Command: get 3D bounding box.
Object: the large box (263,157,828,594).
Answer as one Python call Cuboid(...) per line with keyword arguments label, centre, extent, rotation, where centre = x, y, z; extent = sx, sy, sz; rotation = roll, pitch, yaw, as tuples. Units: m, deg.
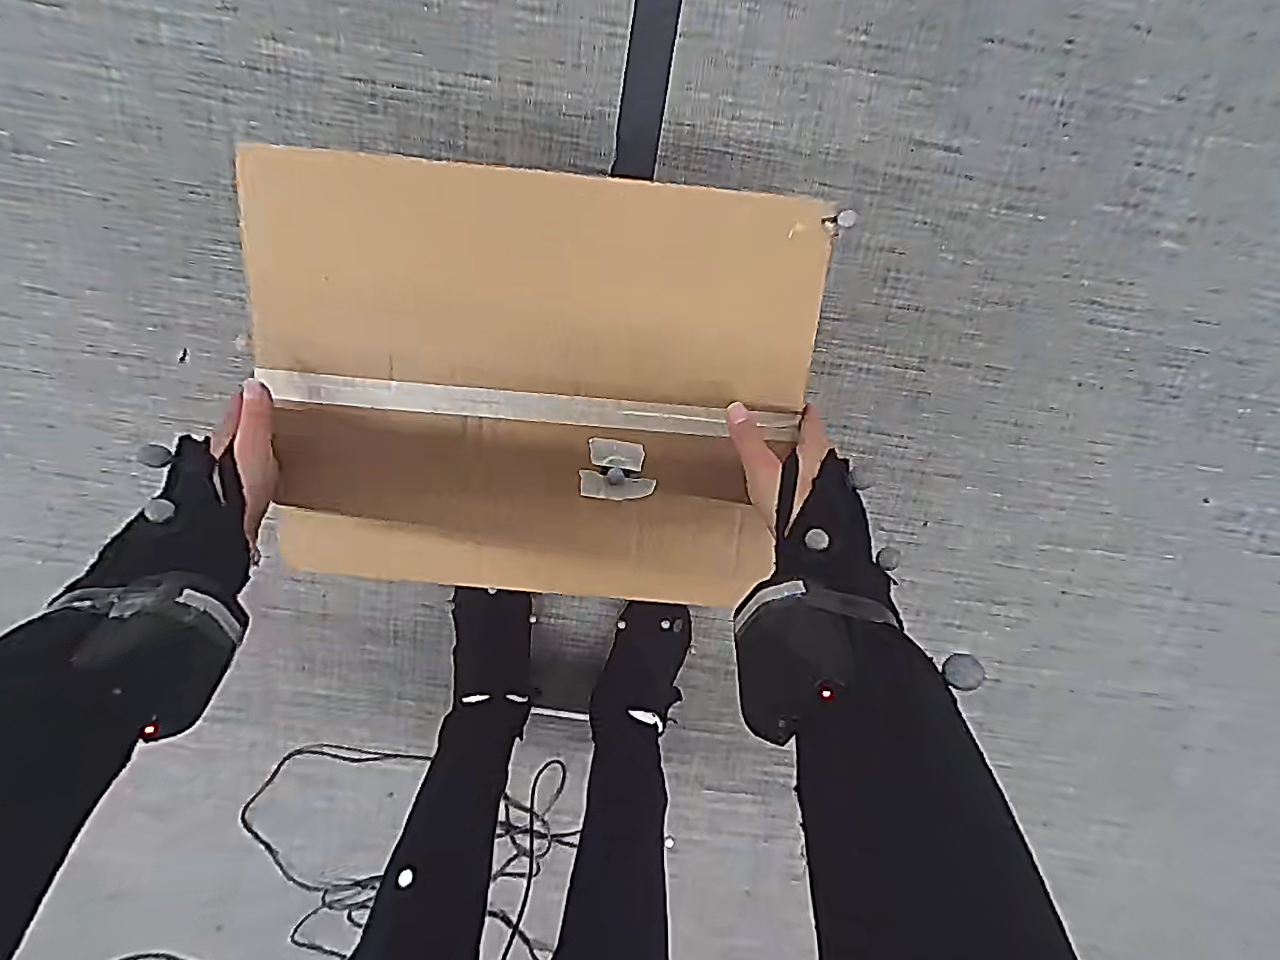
Cuboid(label="large box", centre=(-0.077, -0.102, 0.559), extent=(0.408, 0.320, 0.320), rotation=(5, 107, -1))
